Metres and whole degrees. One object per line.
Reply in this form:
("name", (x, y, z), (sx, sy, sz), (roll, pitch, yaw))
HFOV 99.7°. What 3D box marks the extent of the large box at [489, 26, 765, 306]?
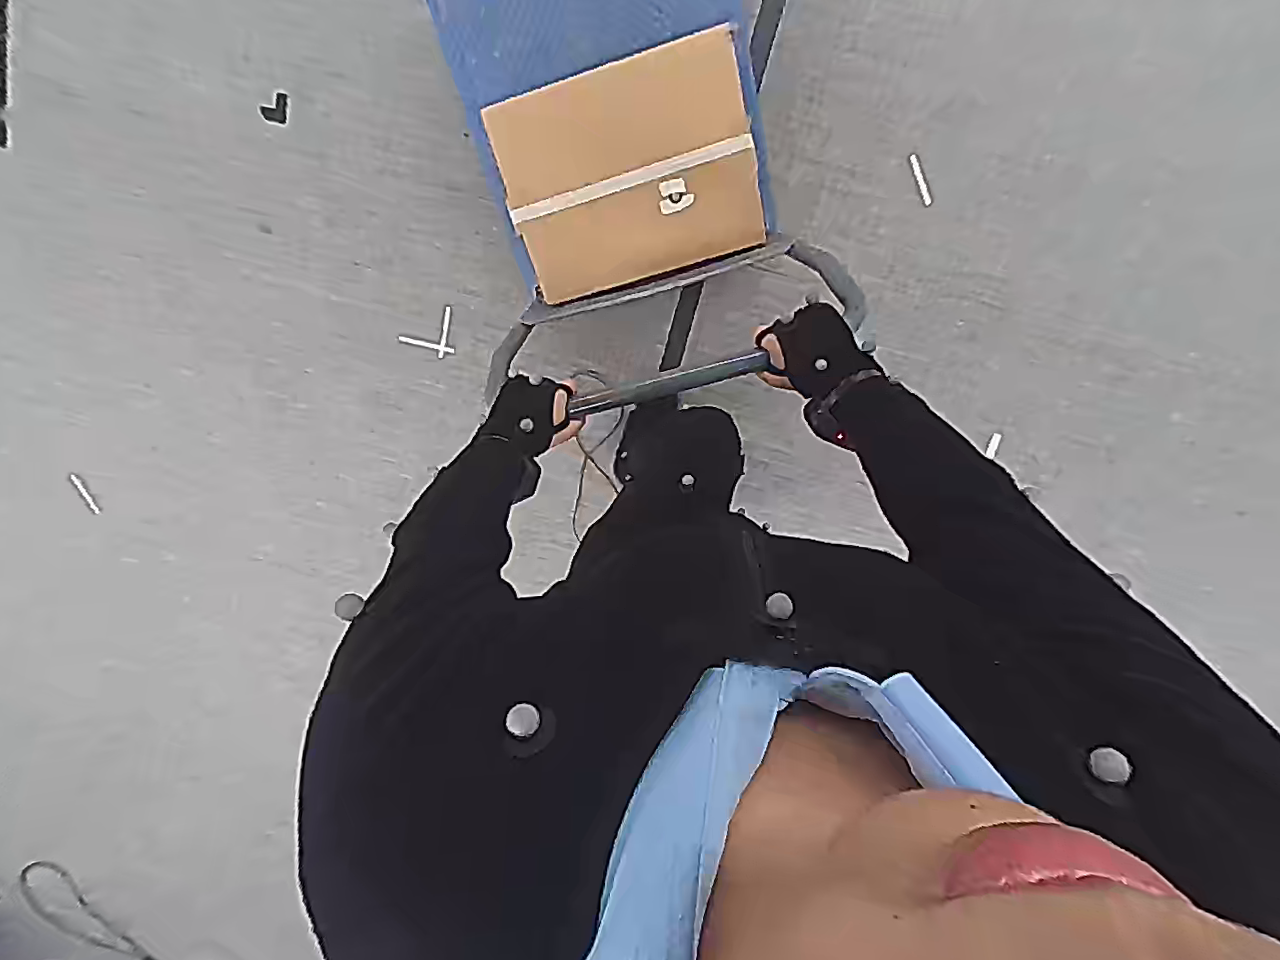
("large box", (-0.015, -0.567, 1.039), (0.408, 0.320, 0.320), (-15, 116, 7))
